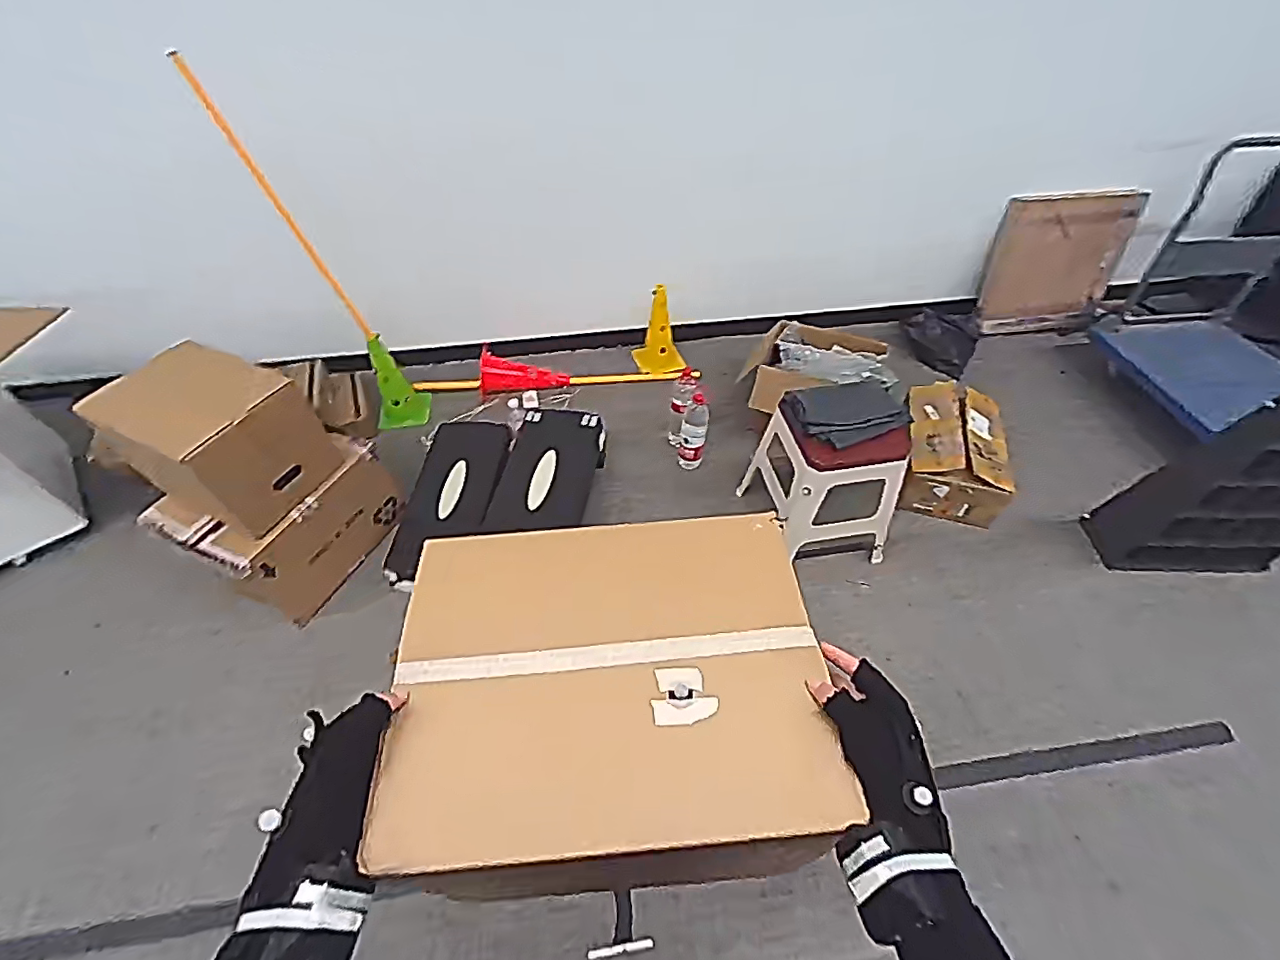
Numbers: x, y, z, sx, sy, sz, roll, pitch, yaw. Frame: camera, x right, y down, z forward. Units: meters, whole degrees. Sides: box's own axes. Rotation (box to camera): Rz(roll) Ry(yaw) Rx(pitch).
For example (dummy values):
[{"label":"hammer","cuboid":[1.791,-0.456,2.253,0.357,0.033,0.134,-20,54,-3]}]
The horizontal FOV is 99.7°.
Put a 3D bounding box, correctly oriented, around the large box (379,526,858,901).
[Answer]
[{"label":"large box","cuboid":[-0.024,0.281,0.648,0.408,0.320,0.320,-4,49,-2]}]
